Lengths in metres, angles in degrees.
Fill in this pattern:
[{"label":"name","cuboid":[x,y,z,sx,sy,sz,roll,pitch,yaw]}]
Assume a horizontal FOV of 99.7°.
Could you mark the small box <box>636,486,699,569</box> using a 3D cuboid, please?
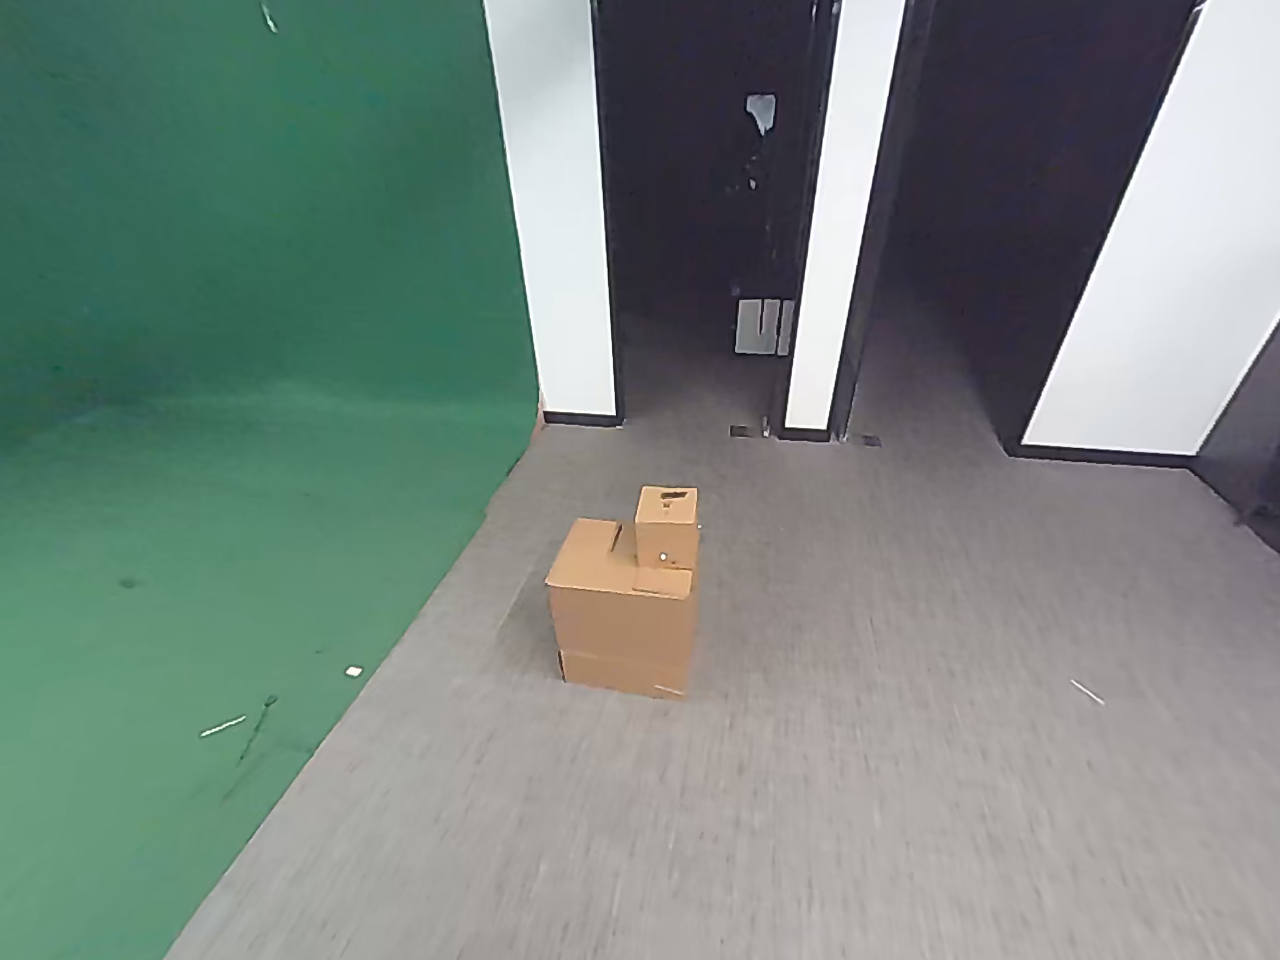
[{"label":"small box","cuboid":[0.085,0.138,1.587,0.168,0.176,0.179,1,35,9]}]
